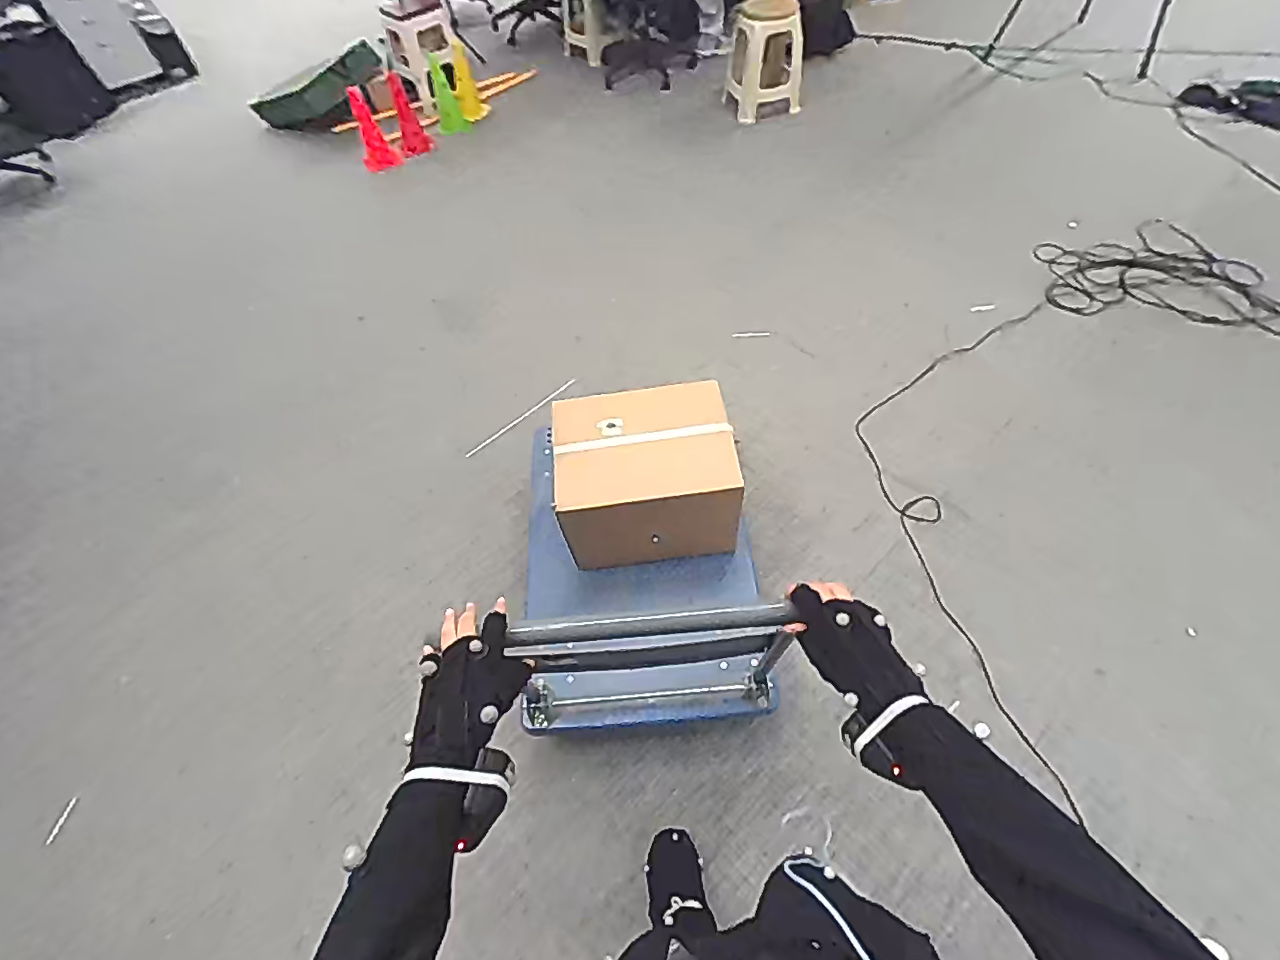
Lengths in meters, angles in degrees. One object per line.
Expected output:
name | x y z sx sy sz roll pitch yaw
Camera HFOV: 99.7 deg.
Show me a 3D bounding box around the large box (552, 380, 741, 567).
large box | 0.016 -0.006 1.344 0.408 0.320 0.320 -9 56 1
